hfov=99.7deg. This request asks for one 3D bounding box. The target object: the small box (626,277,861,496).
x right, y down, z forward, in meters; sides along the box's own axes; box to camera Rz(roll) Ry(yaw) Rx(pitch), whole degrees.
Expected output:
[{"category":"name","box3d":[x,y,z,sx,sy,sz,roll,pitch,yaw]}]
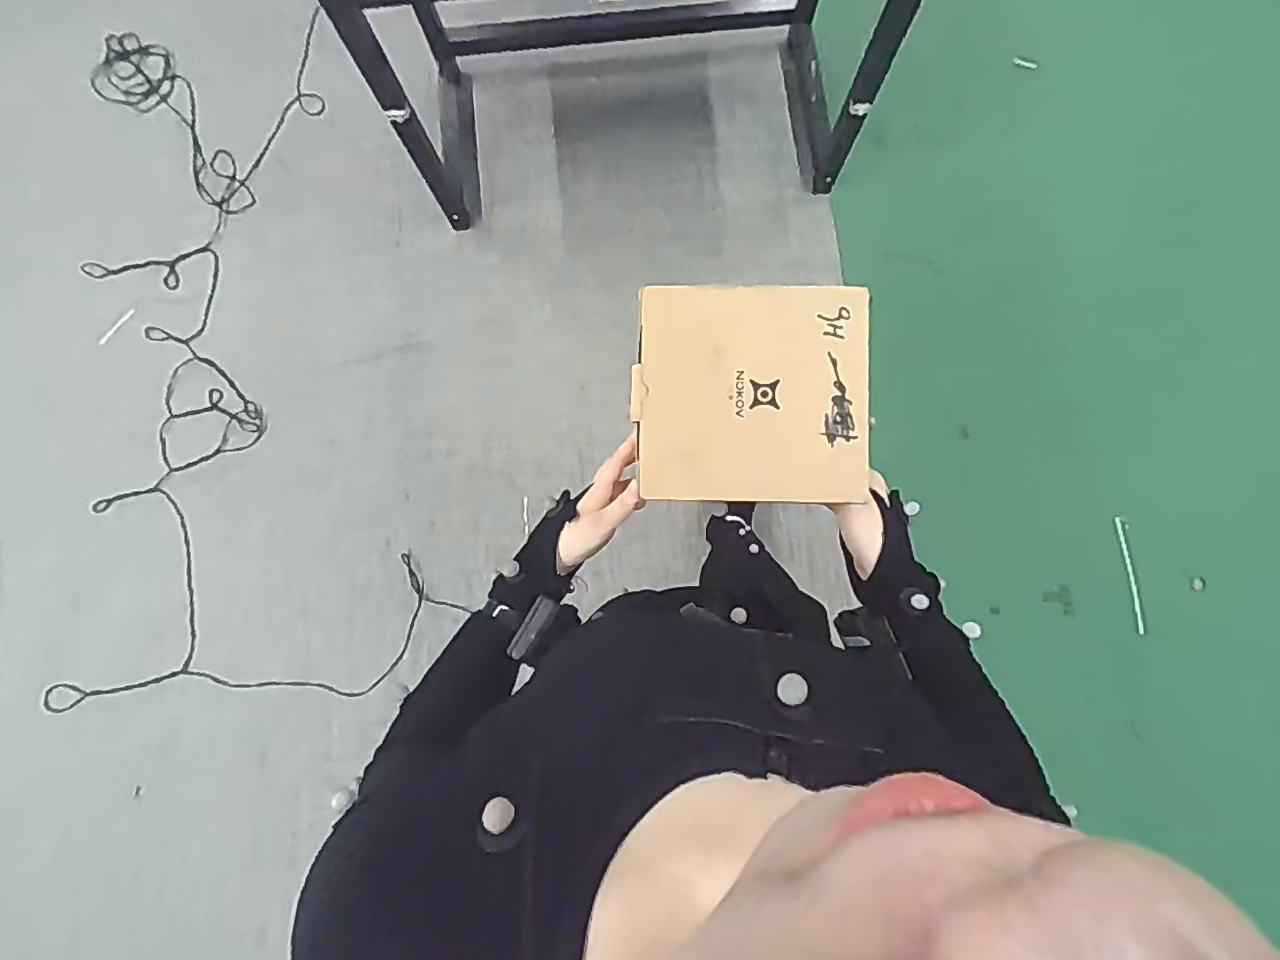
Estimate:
[{"category":"small box","box3d":[0.082,-0.070,0.488,0.179,0.176,0.168,1,89,2]}]
